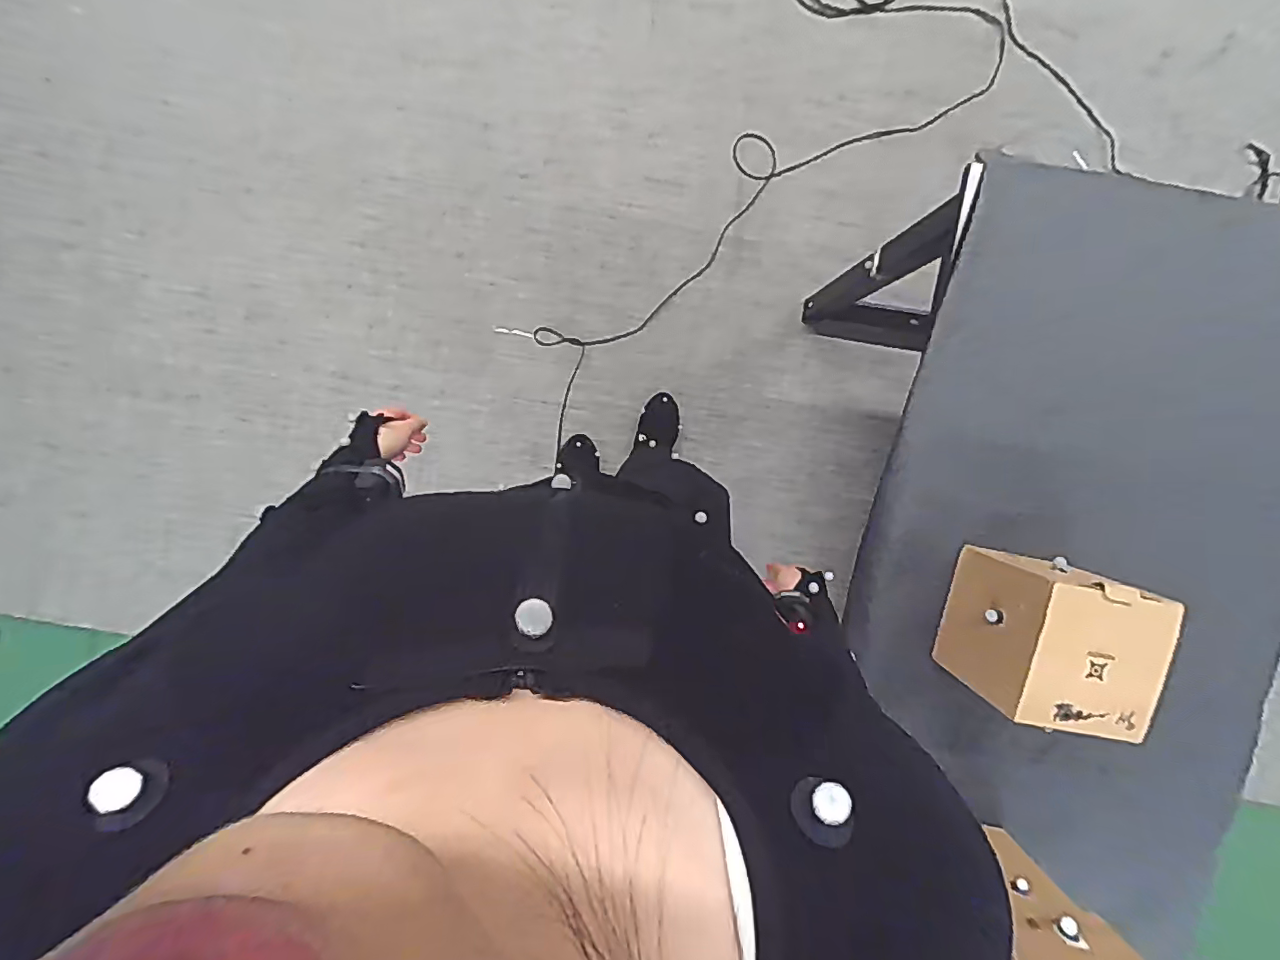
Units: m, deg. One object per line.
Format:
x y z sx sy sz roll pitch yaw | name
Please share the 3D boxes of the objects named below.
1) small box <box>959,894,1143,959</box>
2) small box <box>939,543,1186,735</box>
0.463 0.593 0.572 0.168 0.176 0.179 7 95 -5 | small box
0.521 0.189 0.695 0.168 0.176 0.179 11 95 -3 | small box
